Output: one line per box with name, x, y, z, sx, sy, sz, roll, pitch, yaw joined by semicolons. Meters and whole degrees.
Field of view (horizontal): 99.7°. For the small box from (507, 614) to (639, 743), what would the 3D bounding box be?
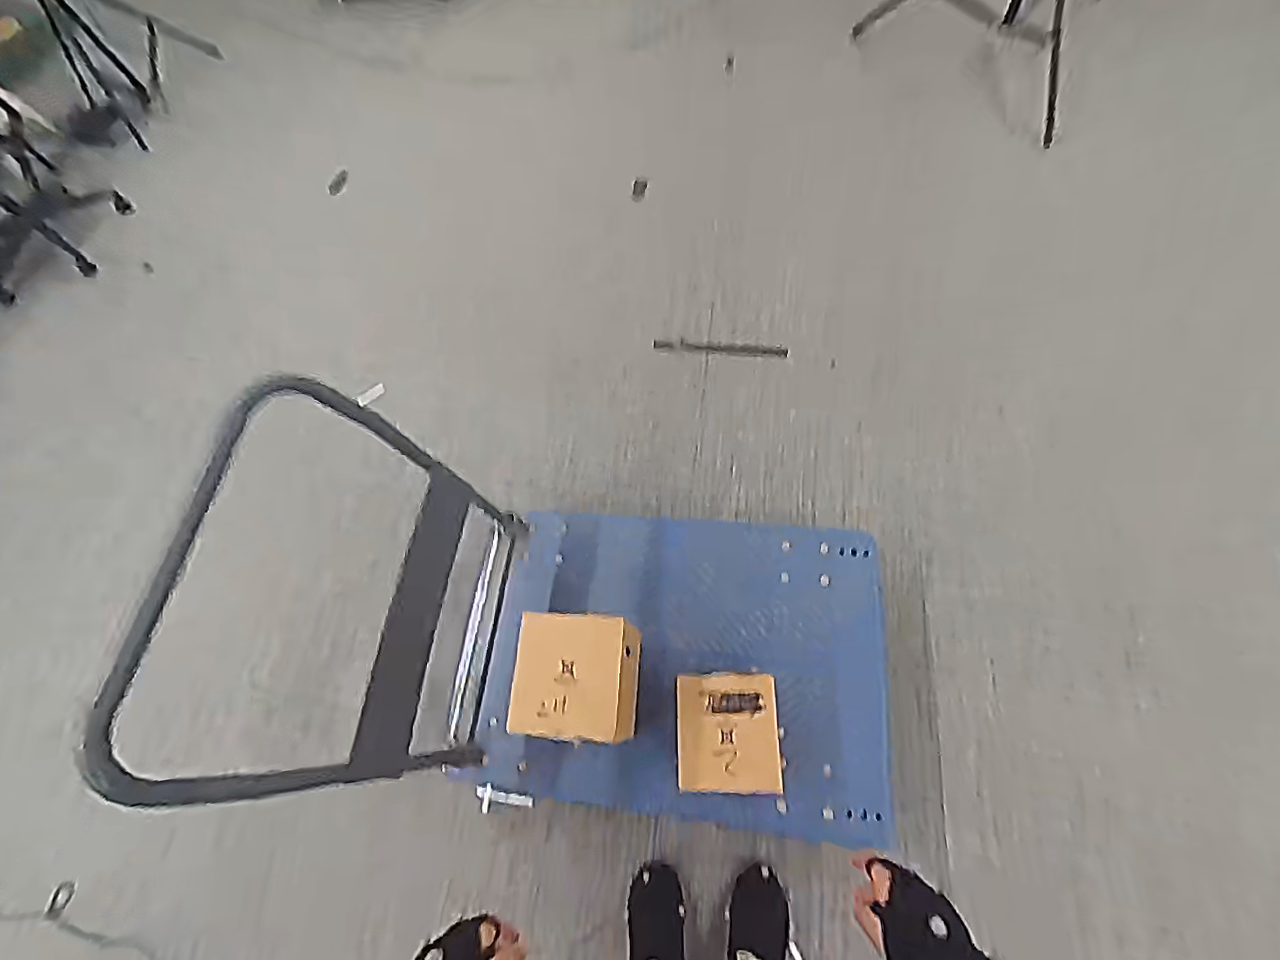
small box;-0.097;0.325;0.882;0.168;0.176;0.179;0;67;10
